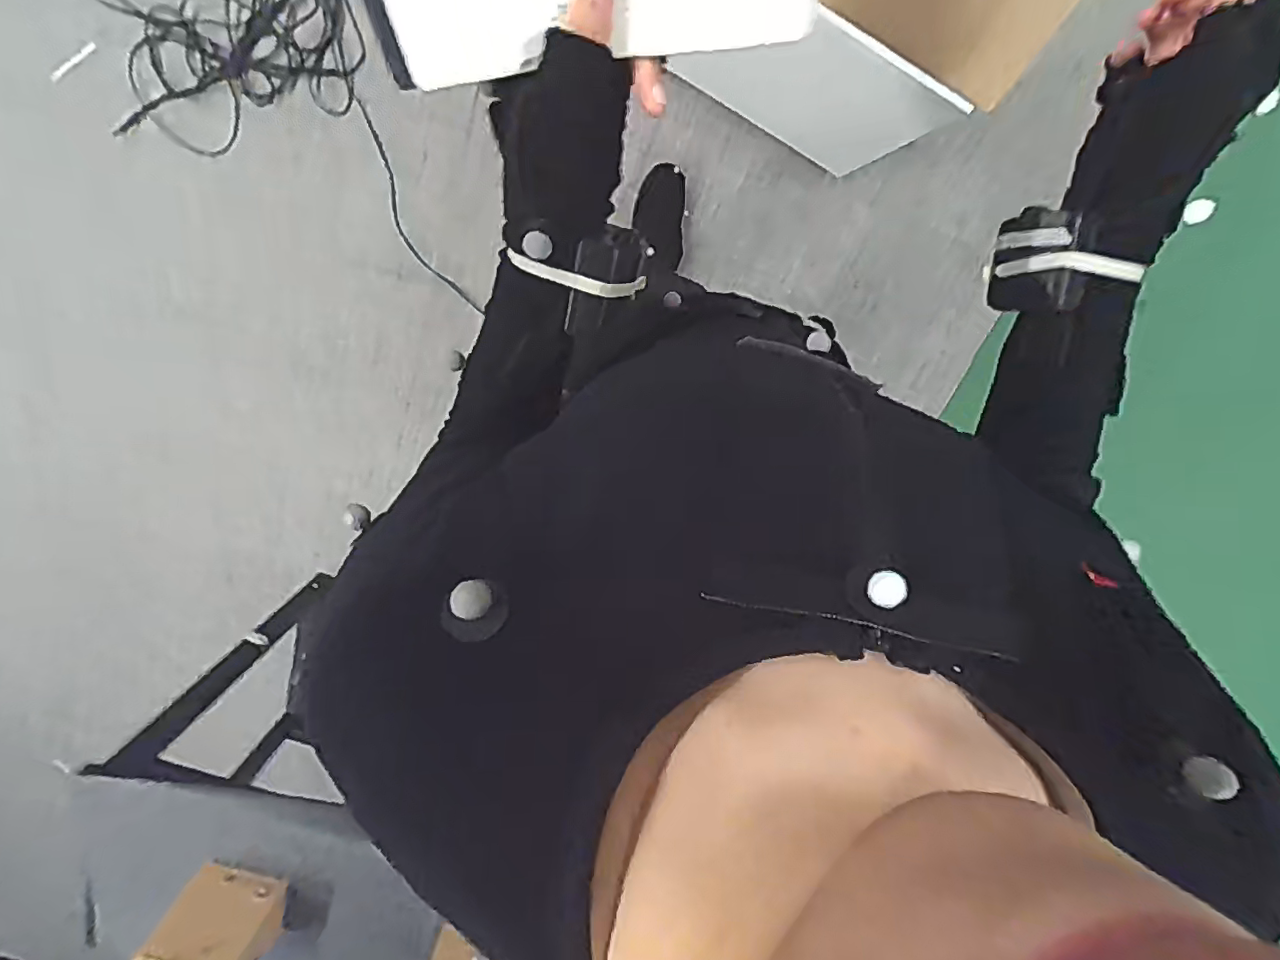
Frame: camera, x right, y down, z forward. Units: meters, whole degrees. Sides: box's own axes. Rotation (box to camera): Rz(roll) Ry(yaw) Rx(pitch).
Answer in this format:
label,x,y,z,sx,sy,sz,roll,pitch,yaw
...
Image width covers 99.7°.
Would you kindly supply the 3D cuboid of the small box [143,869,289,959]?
label,x,y,z,sx,sy,sz,roll,pitch,yaw
small box,-0.811,0.897,1.041,0.168,0.176,0.179,18,112,-5
